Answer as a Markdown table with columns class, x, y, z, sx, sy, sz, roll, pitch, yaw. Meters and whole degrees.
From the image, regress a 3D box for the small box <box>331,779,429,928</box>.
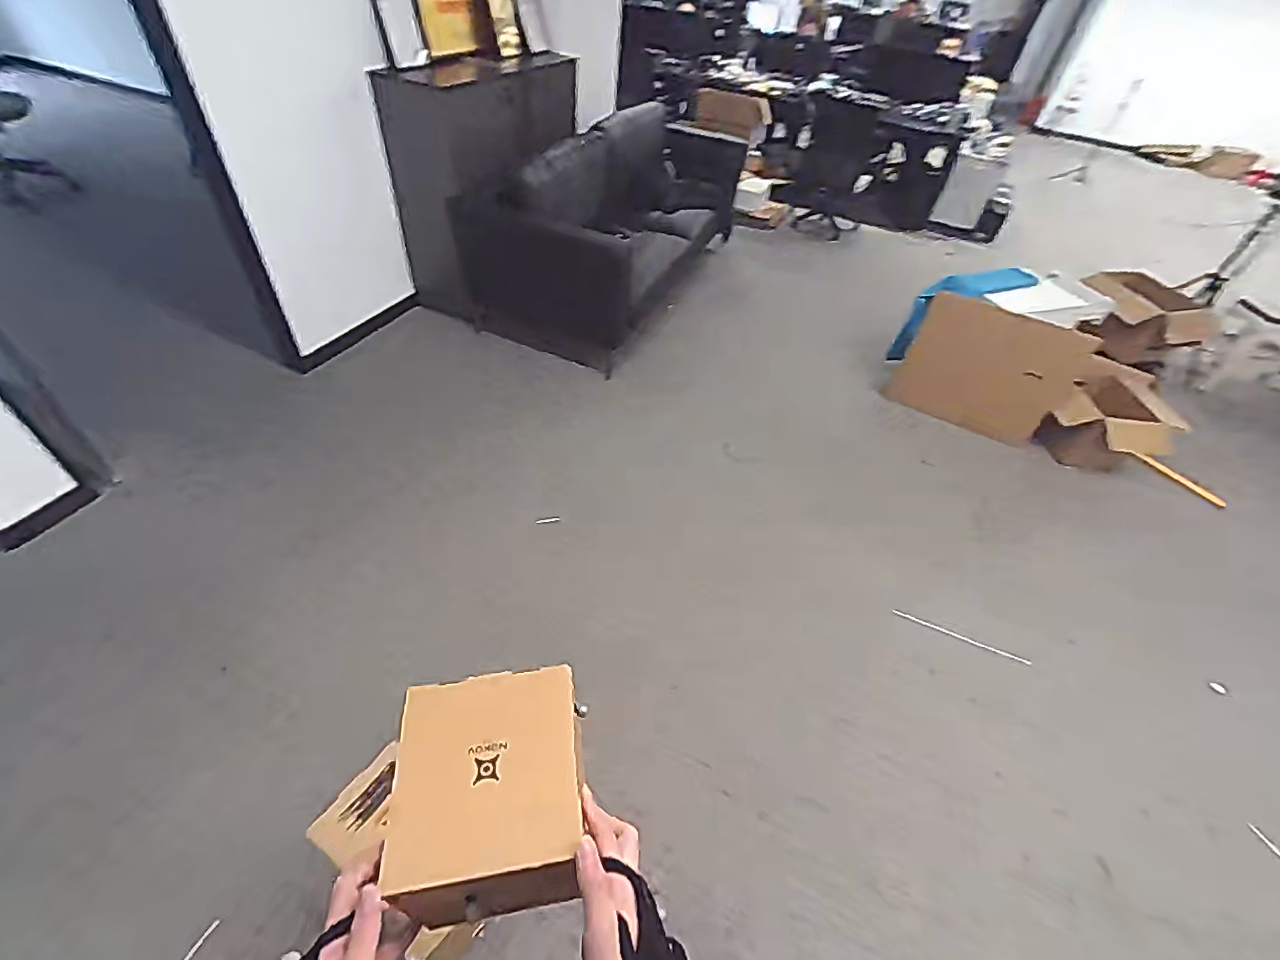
| class | x | y | z | sx | sy | sz | roll | pitch | yaw |
| --- | --- | --- | --- | --- | --- | --- | --- | --- | --- |
| small box | -0.428 | 0.691 | 1.008 | 0.179 | 0.176 | 0.168 | 30 | 48 | 18 |

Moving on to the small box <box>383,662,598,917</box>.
| class | x | y | z | sx | sy | sz | roll | pitch | yaw |
| --- | --- | --- | --- | --- | --- | --- | --- | --- | --- |
| small box | -0.135 | 0.314 | 0.547 | 0.168 | 0.176 | 0.179 | -6 | 43 | -7 |
